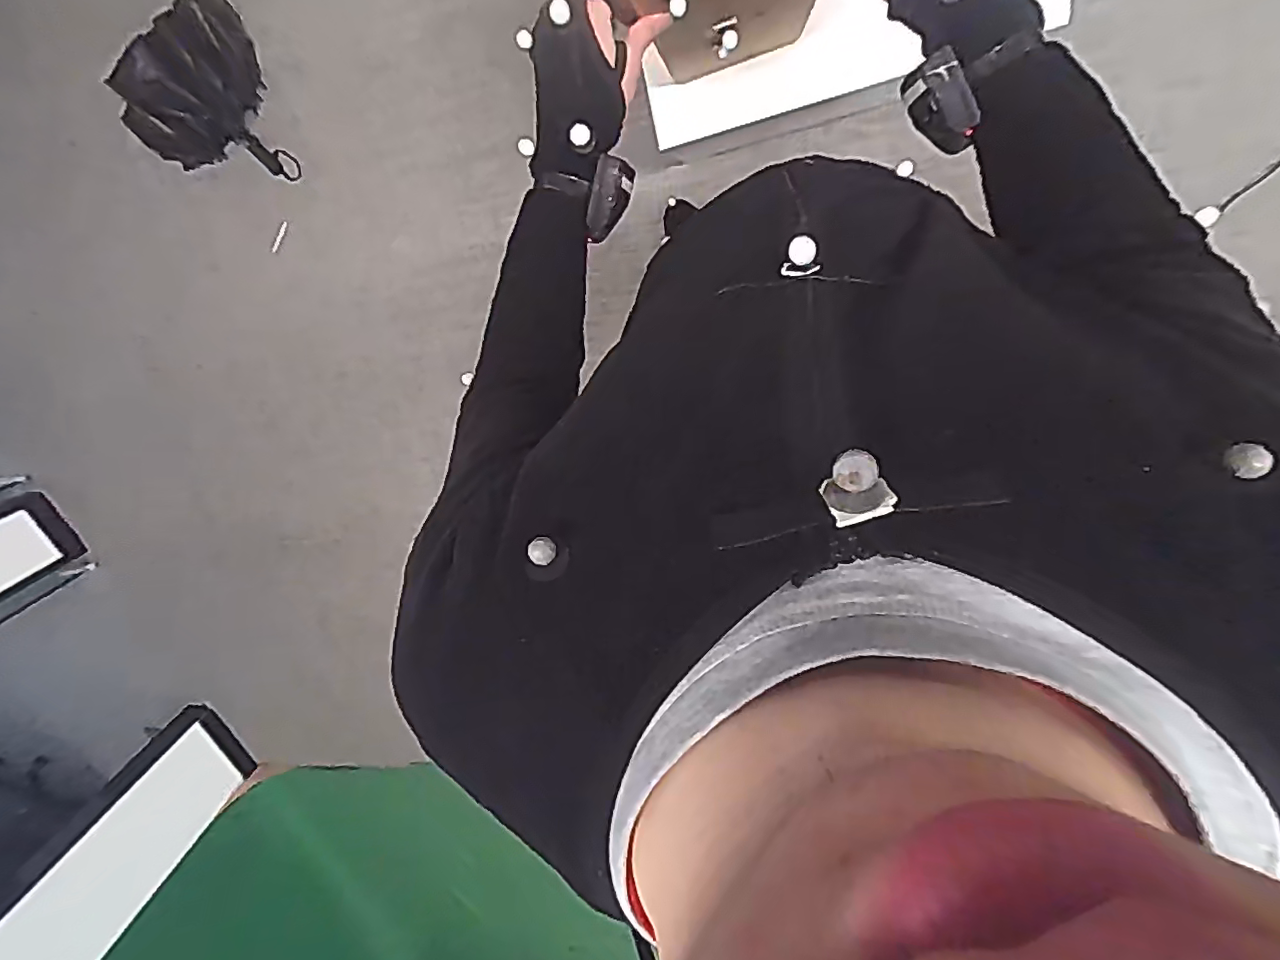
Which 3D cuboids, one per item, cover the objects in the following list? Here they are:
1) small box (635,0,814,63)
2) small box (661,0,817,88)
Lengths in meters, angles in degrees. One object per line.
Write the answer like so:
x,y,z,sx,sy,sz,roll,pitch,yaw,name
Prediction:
0.066,-0.503,0.464,0.168,0.176,0.179,-11,115,16,small box
0.094,-0.579,0.606,0.168,0.176,0.179,-10,115,15,small box
